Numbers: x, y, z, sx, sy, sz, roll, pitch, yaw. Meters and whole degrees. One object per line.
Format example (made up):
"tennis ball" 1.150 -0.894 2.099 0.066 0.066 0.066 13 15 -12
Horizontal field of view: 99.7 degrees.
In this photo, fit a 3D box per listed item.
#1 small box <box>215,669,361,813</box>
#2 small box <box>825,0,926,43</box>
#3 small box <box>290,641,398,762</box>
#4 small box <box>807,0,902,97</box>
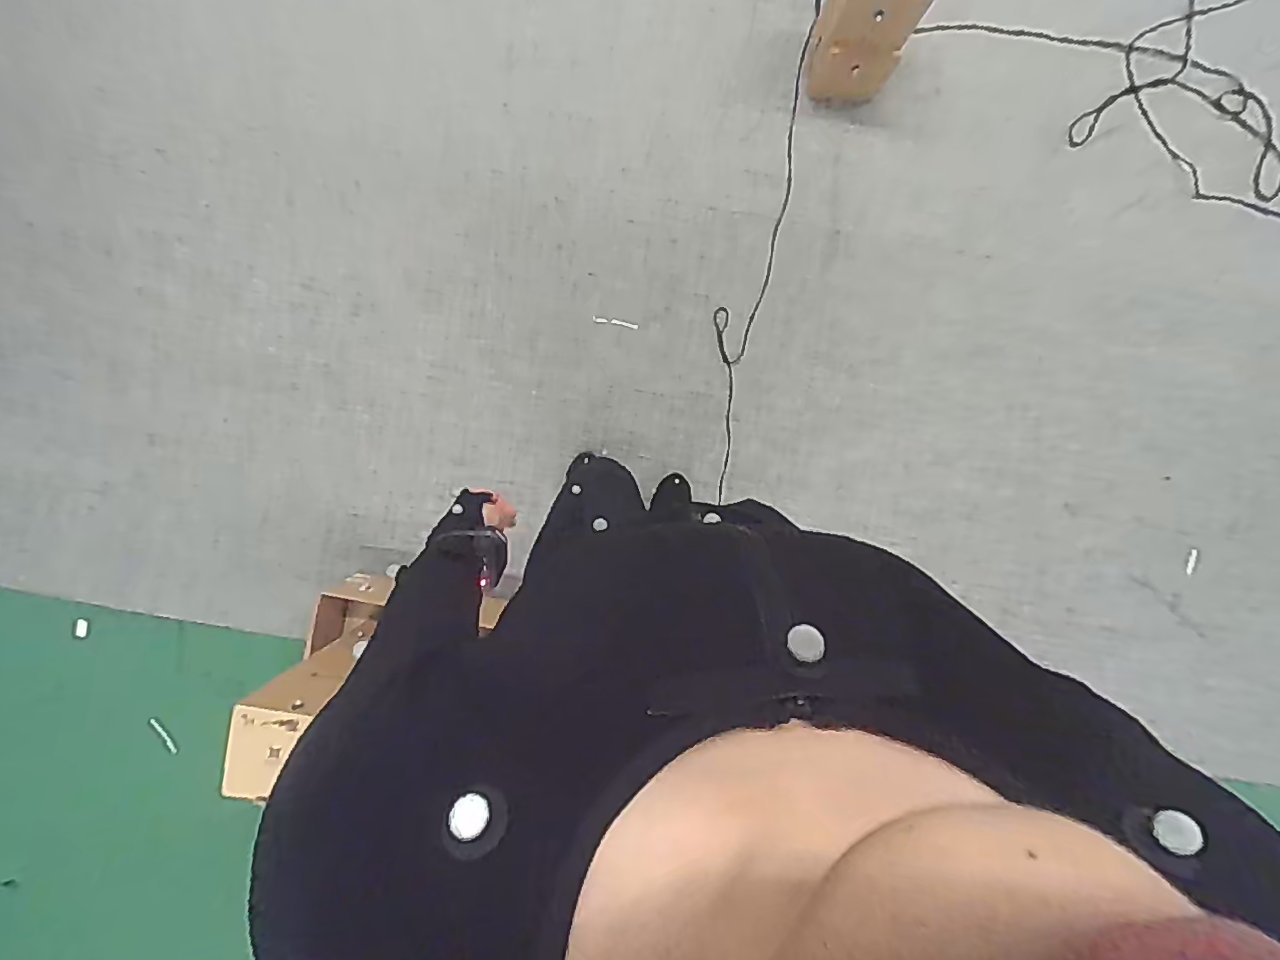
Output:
"small box" -0.661 0.489 1.034 0.168 0.176 0.179 10 93 -1
"small box" 0.516 -1.081 1.156 0.179 0.176 0.168 5 93 1
"small box" -0.663 0.483 1.198 0.168 0.176 0.179 13 91 -2
"small box" 0.518 -1.073 1.321 0.179 0.176 0.168 1 94 -1
